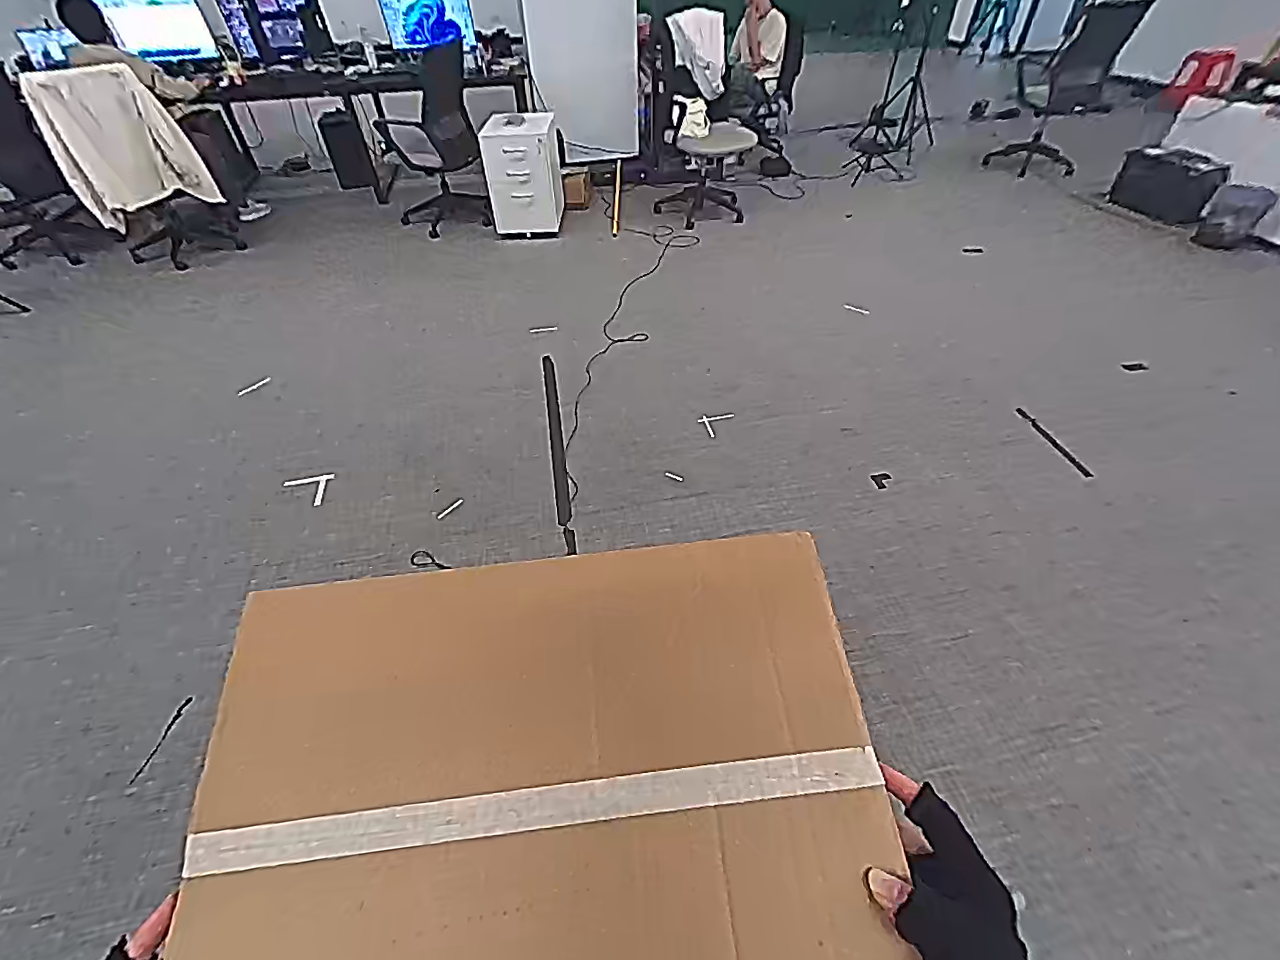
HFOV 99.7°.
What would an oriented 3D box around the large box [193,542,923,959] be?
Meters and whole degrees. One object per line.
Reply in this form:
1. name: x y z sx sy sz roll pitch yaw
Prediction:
1. large box: -0.052 0.275 0.458 0.408 0.320 0.320 -6 62 -2
